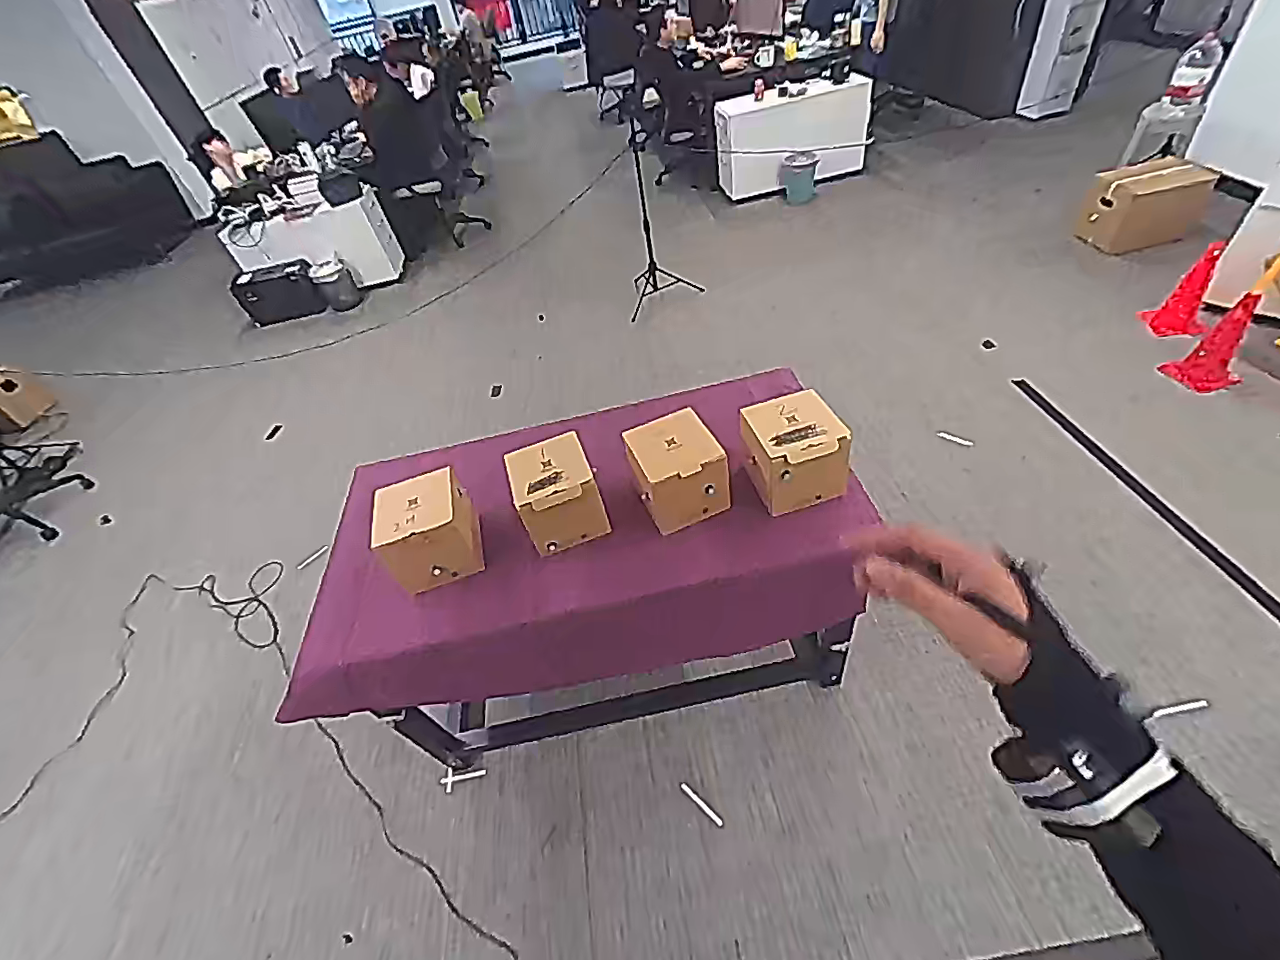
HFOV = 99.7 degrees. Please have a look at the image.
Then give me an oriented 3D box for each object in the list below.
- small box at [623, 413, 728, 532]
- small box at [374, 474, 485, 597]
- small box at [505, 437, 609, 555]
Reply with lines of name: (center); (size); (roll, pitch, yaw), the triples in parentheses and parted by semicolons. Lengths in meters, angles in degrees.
small box: (0.080, -0.009, 1.172); (0.168, 0.176, 0.179); (-22, 45, -8)
small box: (-0.449, 0.121, 1.171); (0.168, 0.176, 0.179); (-19, 45, -5)
small box: (-0.178, 0.042, 1.183); (0.168, 0.176, 0.179); (-20, 44, -6)
